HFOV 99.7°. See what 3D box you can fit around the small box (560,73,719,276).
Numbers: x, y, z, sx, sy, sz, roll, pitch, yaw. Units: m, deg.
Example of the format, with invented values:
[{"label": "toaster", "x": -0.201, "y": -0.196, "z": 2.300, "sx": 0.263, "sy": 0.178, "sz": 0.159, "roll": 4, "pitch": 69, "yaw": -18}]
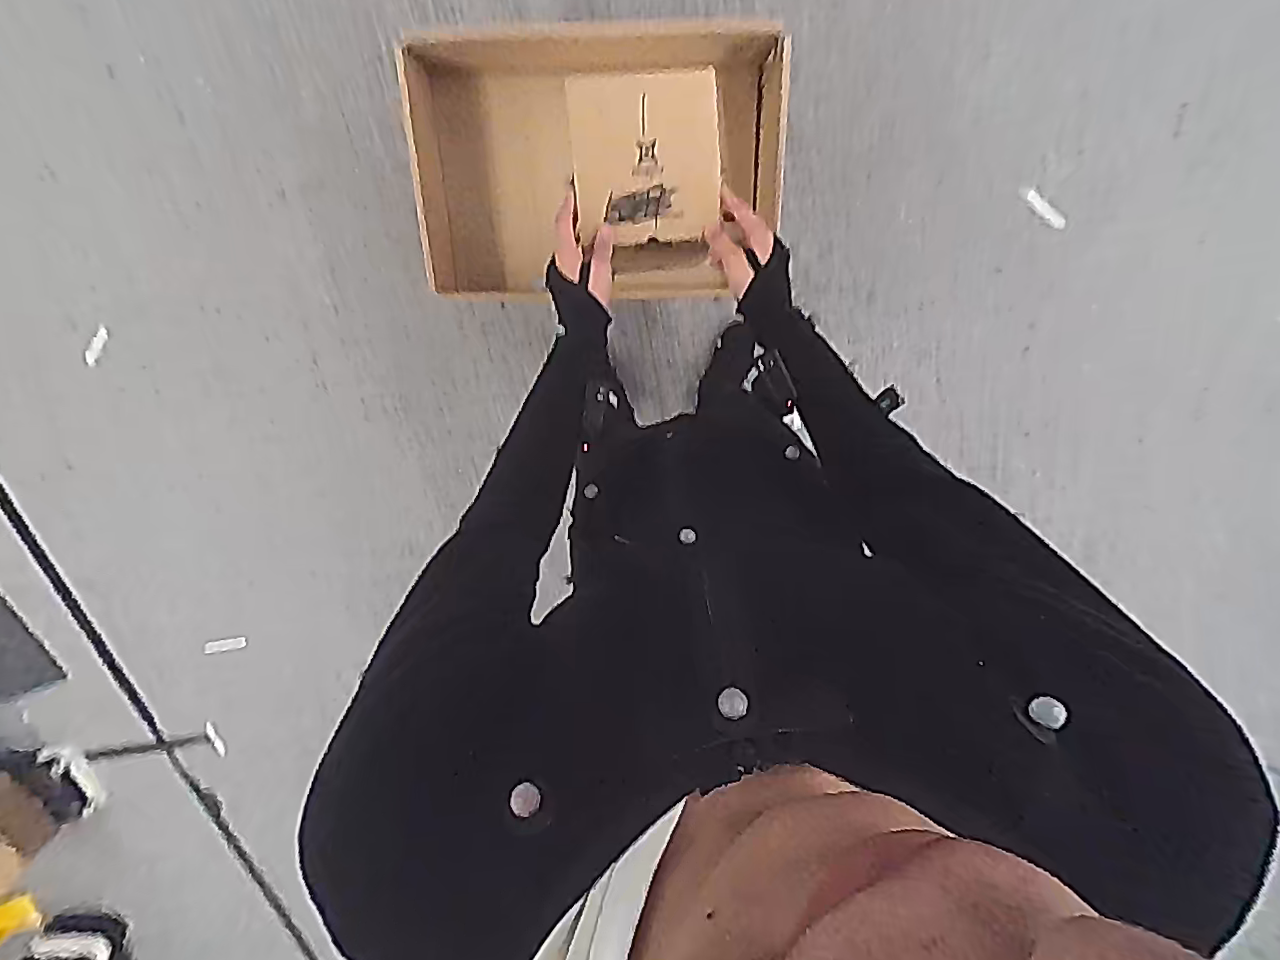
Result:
[{"label": "small box", "x": -0.001, "y": -0.360, "z": 0.673, "sx": 0.168, "sy": 0.176, "sz": 0.179, "roll": -7, "pitch": 100, "yaw": -2}]
